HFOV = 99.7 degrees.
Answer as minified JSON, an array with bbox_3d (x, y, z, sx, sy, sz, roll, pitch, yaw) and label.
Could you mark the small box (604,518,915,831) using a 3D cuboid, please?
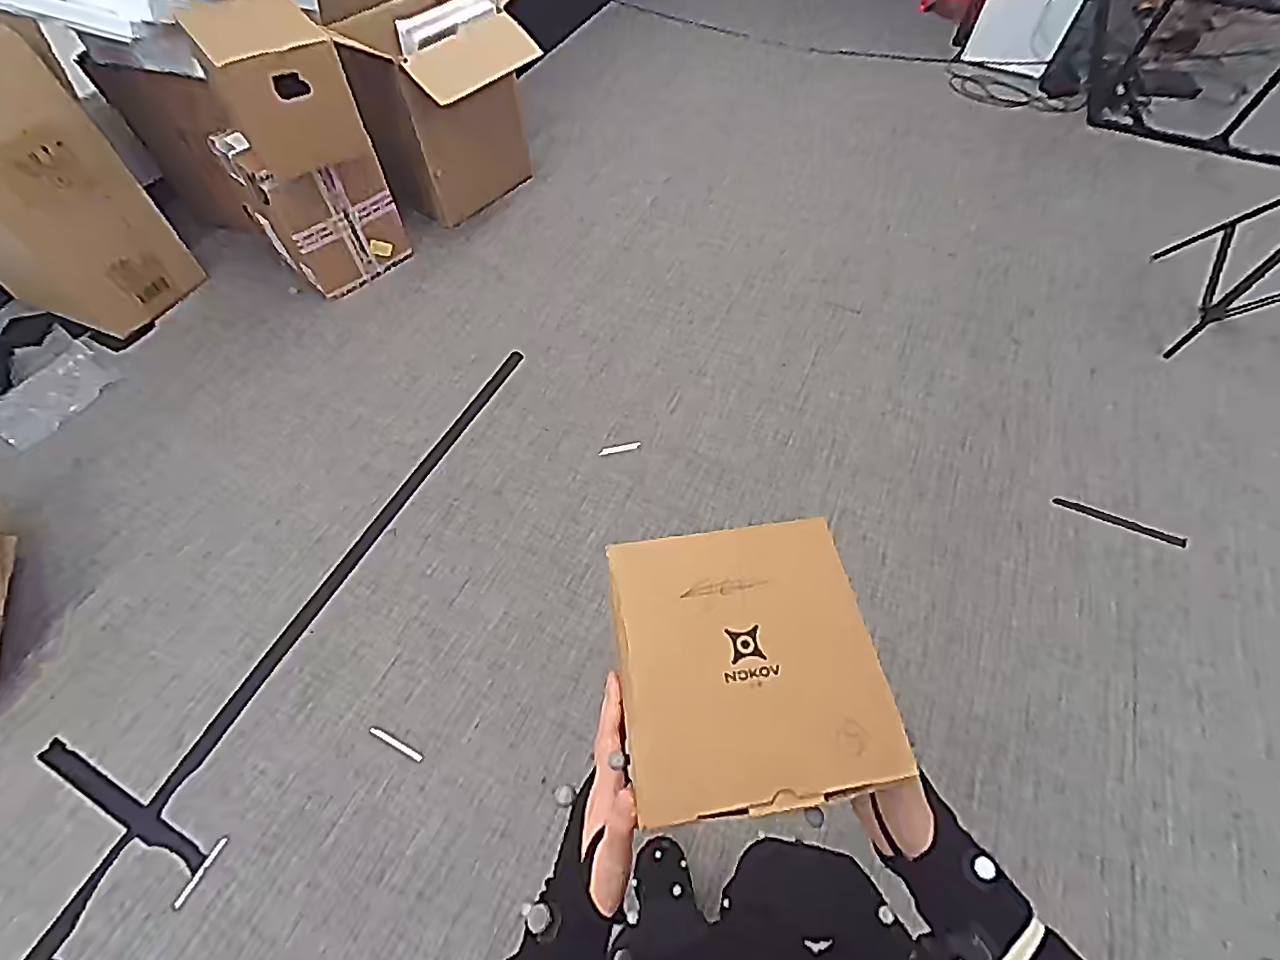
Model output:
[{"bbox_3d":[0.066,0.153,0.415,0.168,0.176,0.179,-7,57,-7],"label":"small box"}]
